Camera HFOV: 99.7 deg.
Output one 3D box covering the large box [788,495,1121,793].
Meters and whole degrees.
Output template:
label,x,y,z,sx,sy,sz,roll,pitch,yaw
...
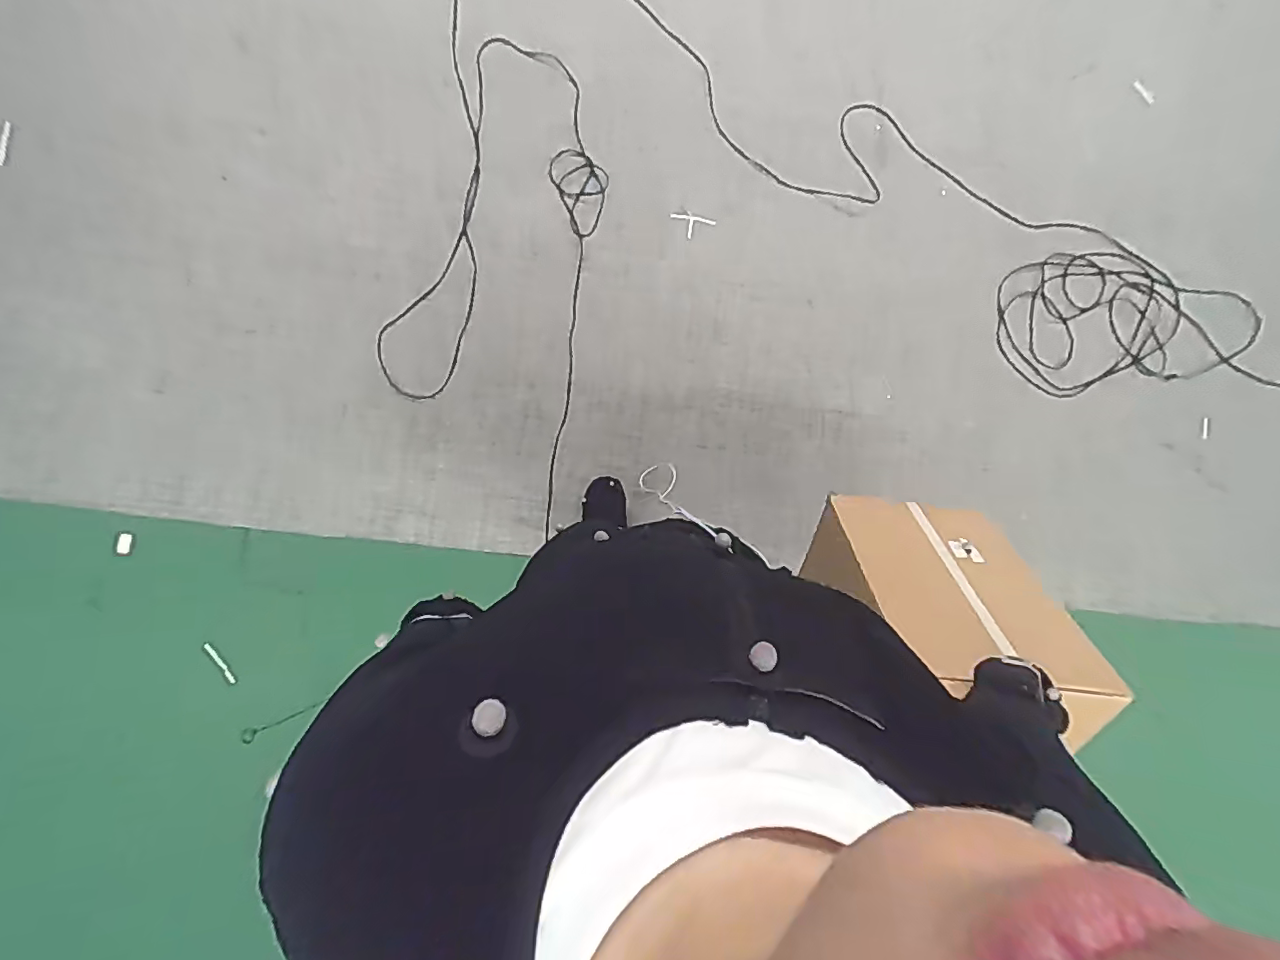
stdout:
label,x,y,z,sx,sy,sz,roll,pitch,yaw
large box,0.490,0.278,0.967,0.320,0.408,0.320,7,124,-3
